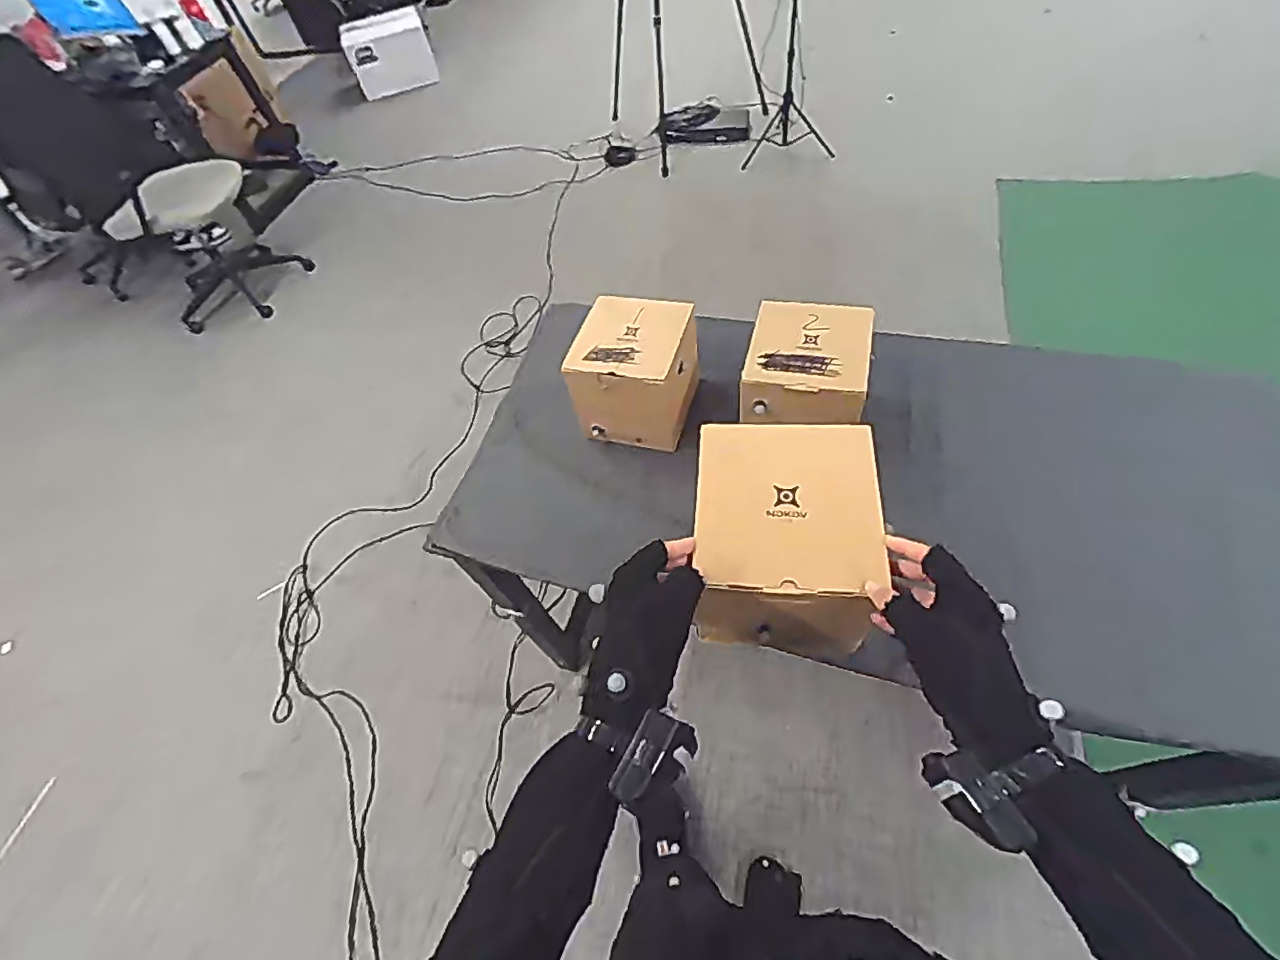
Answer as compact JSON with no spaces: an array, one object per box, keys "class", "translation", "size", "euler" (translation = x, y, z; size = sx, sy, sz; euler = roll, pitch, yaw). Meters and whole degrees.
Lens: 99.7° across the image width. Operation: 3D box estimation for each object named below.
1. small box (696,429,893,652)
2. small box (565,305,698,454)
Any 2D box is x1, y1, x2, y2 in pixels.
[{"class":"small box","translation":[0.149,0.066,0.569],"size":[0.168,0.176,0.179],"euler":[1,58,10]},{"class":"small box","translation":[-0.001,-0.165,0.904],"size":[0.168,0.176,0.179],"euler":[10,57,16]}]
